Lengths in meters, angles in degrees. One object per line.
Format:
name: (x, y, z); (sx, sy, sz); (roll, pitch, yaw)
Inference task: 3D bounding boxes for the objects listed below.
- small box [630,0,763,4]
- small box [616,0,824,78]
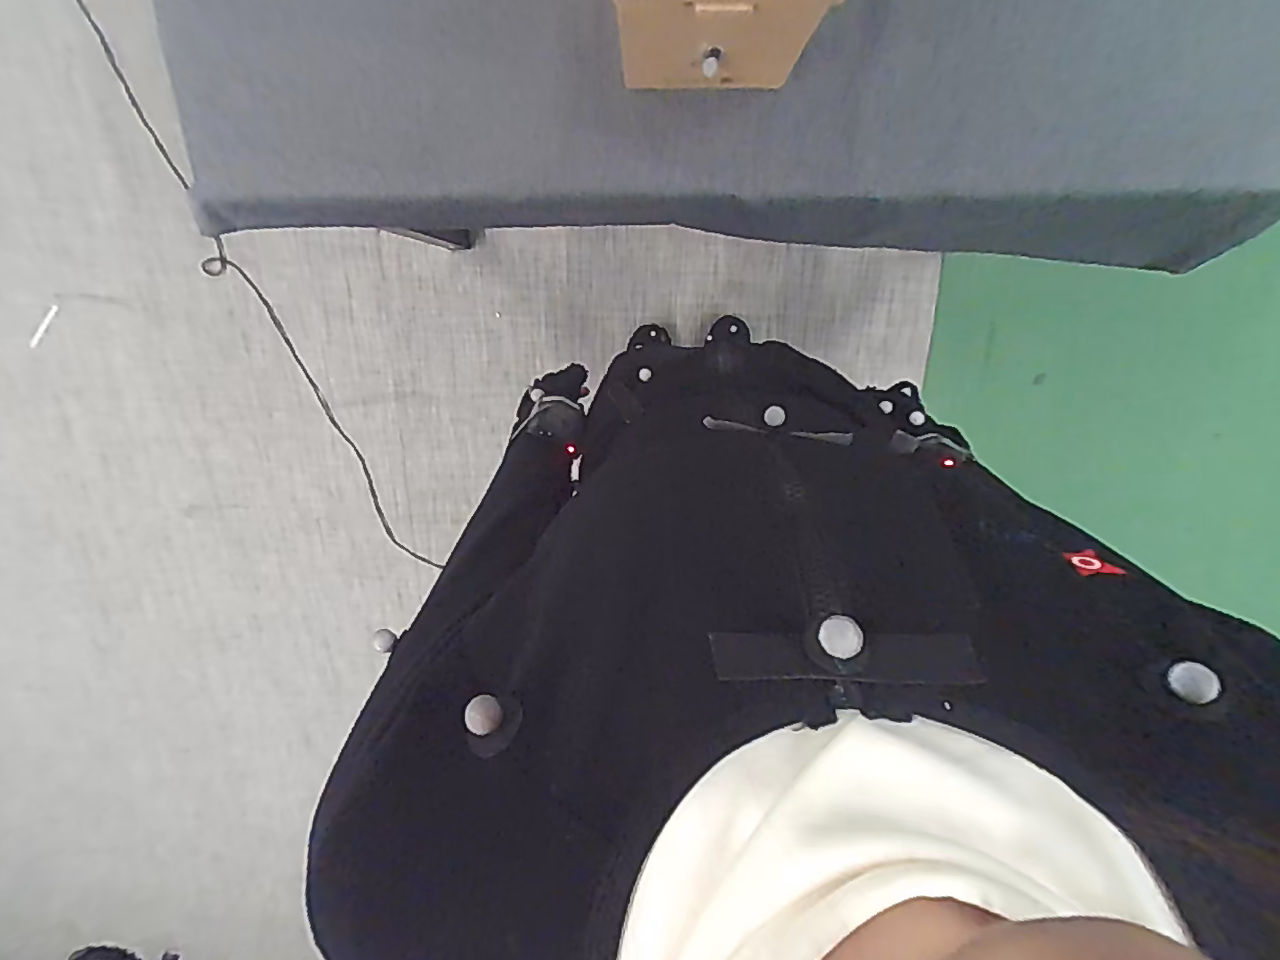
small box: (0.067, -0.413, 0.306); (0.179, 0.176, 0.168); (-2, 108, 1)
small box: (0.066, -0.471, 0.461); (0.168, 0.176, 0.179); (1, 108, 2)
